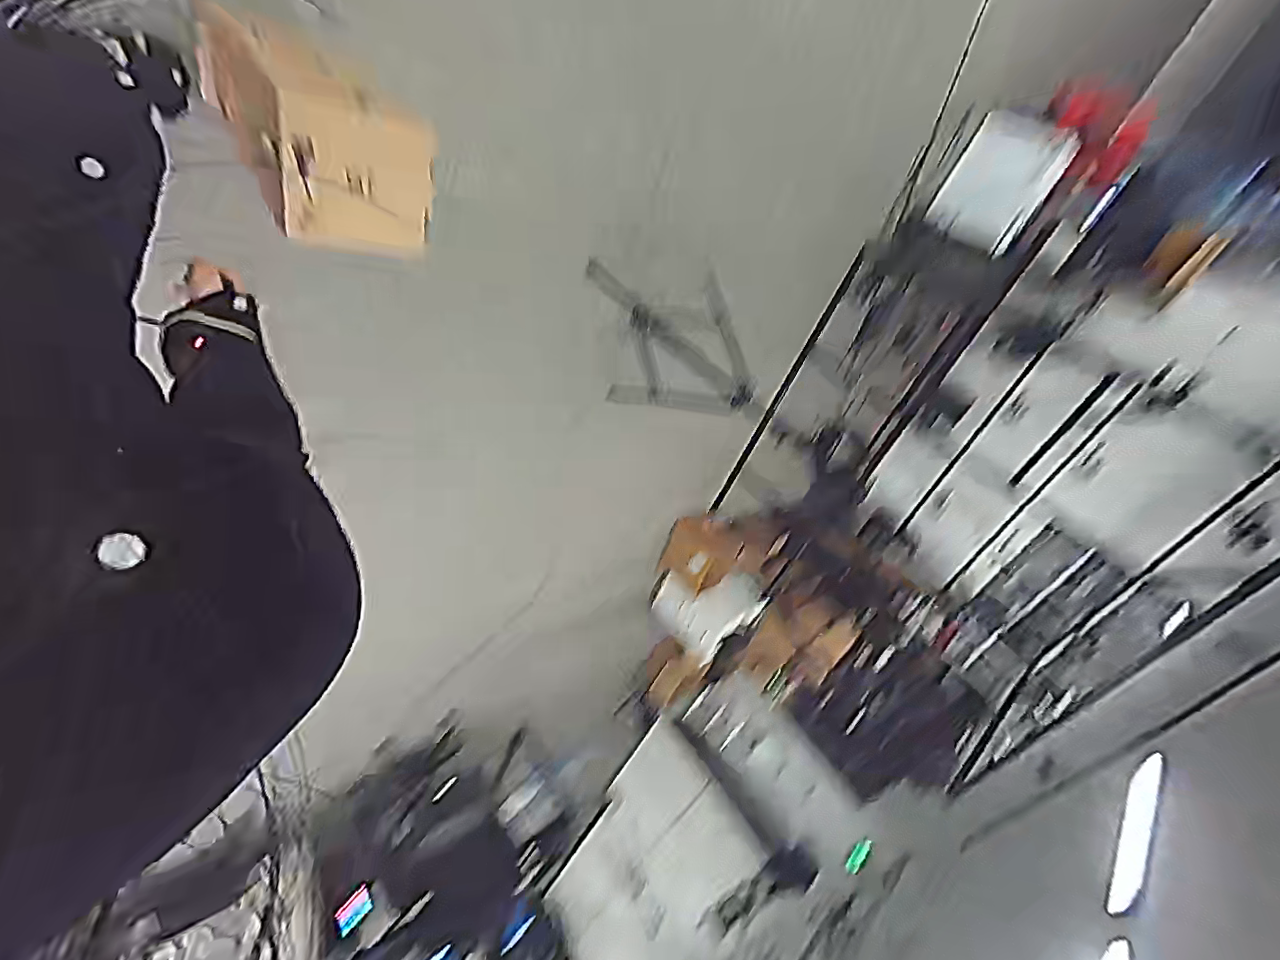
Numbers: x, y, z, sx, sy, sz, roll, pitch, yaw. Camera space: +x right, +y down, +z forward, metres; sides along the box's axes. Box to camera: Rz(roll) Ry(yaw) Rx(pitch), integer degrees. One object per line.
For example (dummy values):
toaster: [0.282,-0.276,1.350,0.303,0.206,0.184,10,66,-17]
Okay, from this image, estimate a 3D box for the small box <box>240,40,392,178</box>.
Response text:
small box: [-0.494,-0.525,0.825,0.168,0.176,0.179,-11,137,-41]

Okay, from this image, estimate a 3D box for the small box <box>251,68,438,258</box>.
small box: [-0.401,-0.424,0.733,0.179,0.176,0.168,-12,137,-41]

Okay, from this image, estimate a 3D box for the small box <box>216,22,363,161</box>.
small box: [-0.589,-0.629,0.905,0.179,0.176,0.168,-12,138,-43]

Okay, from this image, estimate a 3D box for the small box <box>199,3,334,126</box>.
small box: [-0.683,-0.732,0.987,0.179,0.176,0.168,-11,136,-42]
